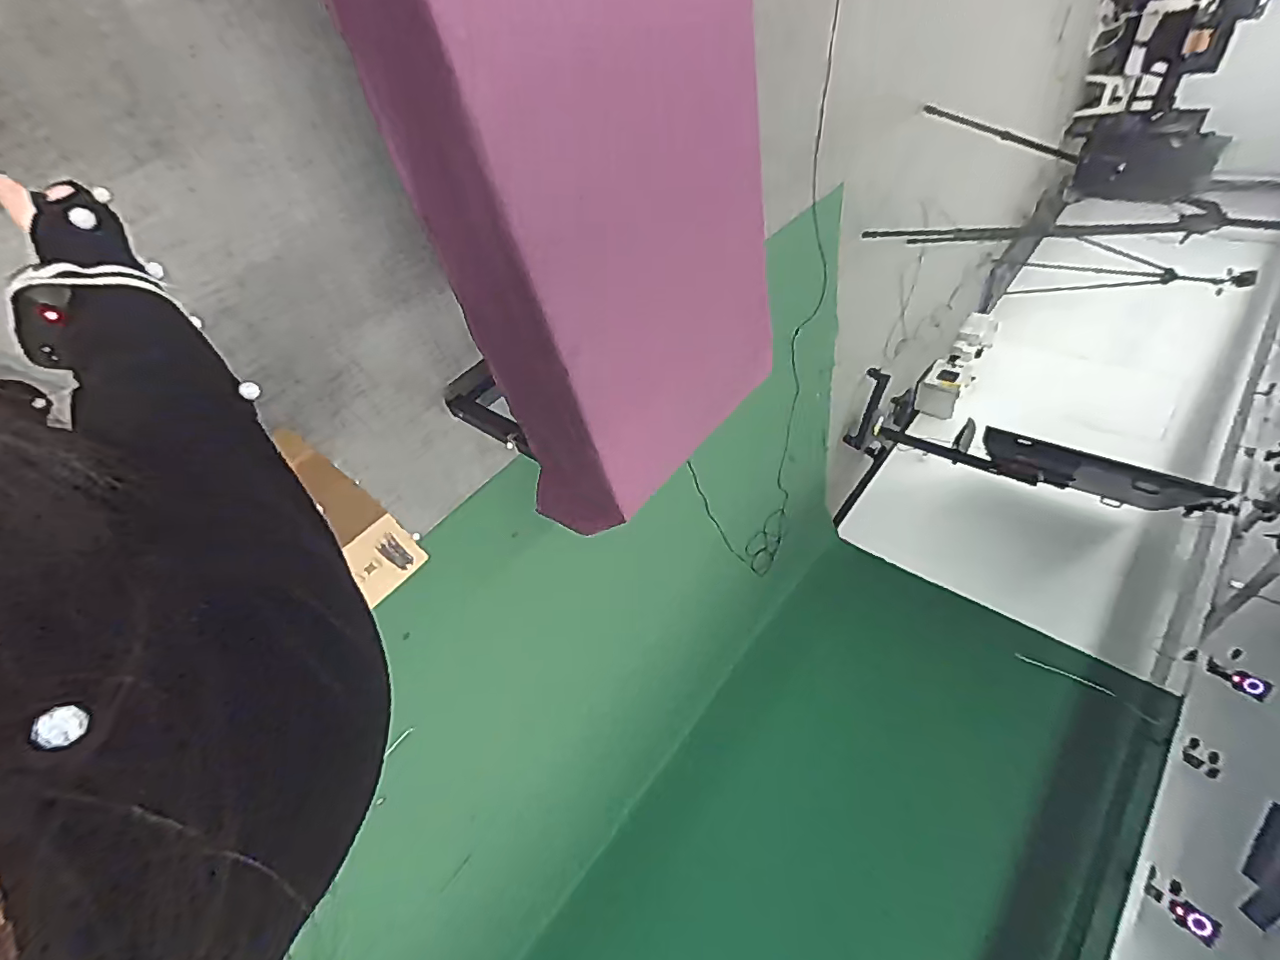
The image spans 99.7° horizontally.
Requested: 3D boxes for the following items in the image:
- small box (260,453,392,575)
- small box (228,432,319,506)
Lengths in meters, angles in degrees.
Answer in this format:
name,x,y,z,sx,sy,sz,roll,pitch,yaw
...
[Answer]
name,x,y,z,sx,sy,sz,roll,pitch,yaw
small box,-0.701,0.071,1.201,0.179,0.176,0.168,-45,144,-25
small box,-0.824,0.004,1.285,0.168,0.176,0.179,-47,143,-22
